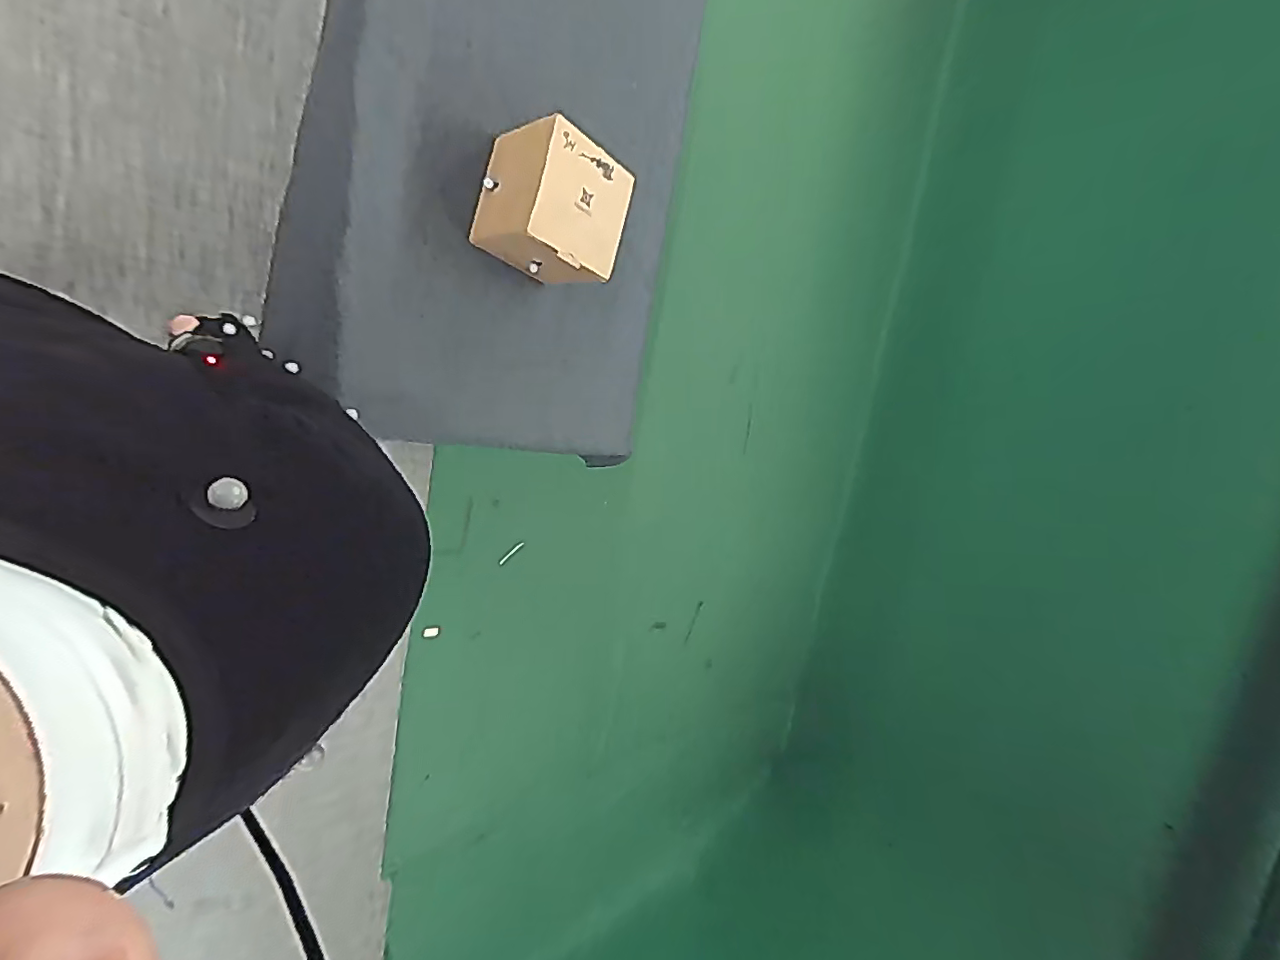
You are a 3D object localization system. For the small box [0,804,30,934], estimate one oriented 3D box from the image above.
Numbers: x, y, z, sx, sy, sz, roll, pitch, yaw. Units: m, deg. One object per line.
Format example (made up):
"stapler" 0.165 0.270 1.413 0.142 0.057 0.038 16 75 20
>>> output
"small box" -1.356 0.804 1.086 0.168 0.176 0.179 4 100 -50

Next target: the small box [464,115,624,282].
"small box" -0.159 -0.437 0.873 0.168 0.176 0.179 14 93 -49
